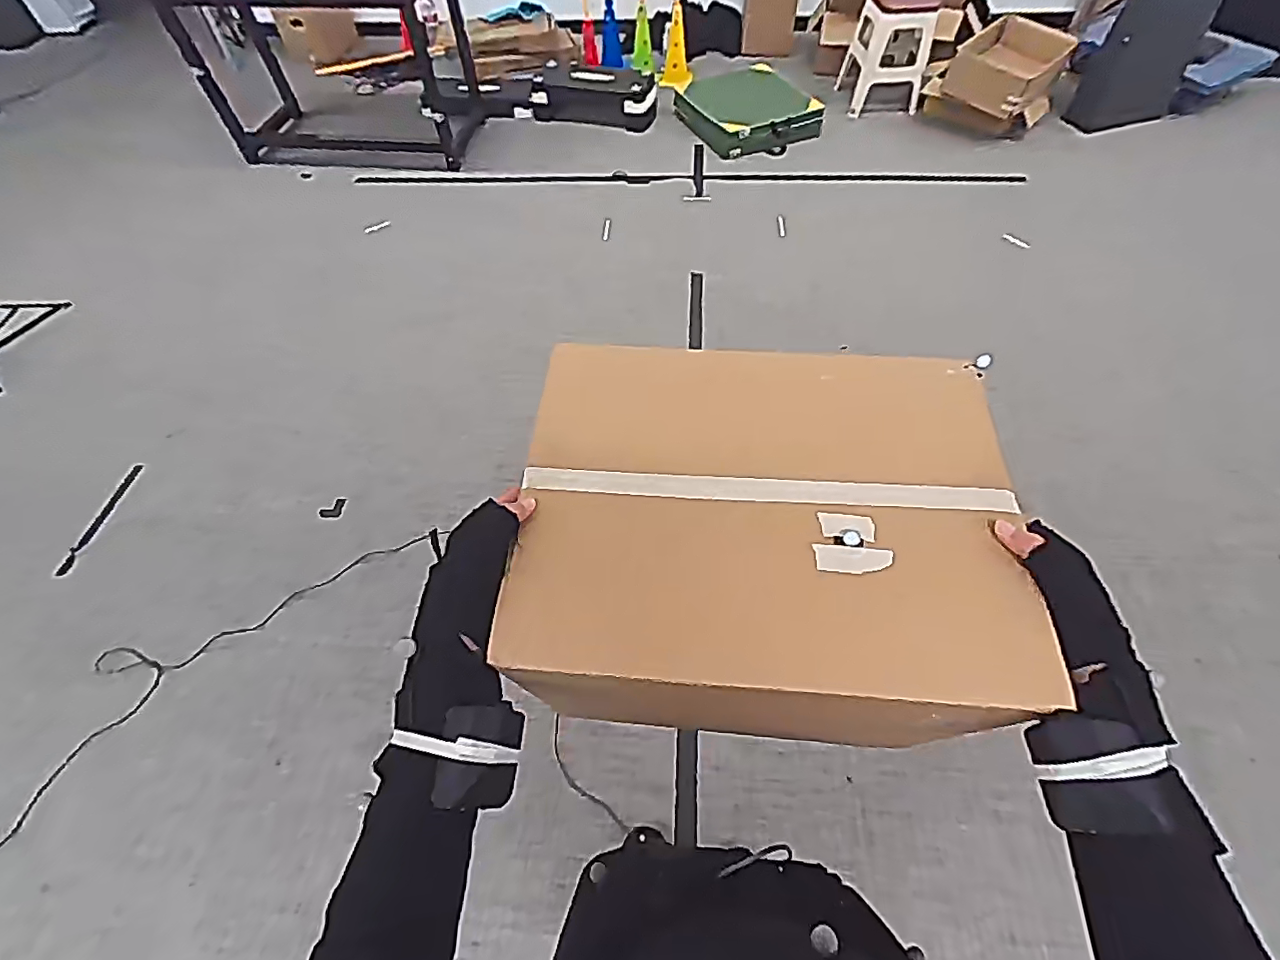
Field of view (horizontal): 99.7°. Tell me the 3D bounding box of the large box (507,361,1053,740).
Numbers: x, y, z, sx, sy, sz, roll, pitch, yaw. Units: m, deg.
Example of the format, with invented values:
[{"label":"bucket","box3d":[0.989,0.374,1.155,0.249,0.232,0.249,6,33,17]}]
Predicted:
[{"label":"large box","box3d":[0.110,0.091,0.594,0.408,0.320,0.320,3,61,4]}]
